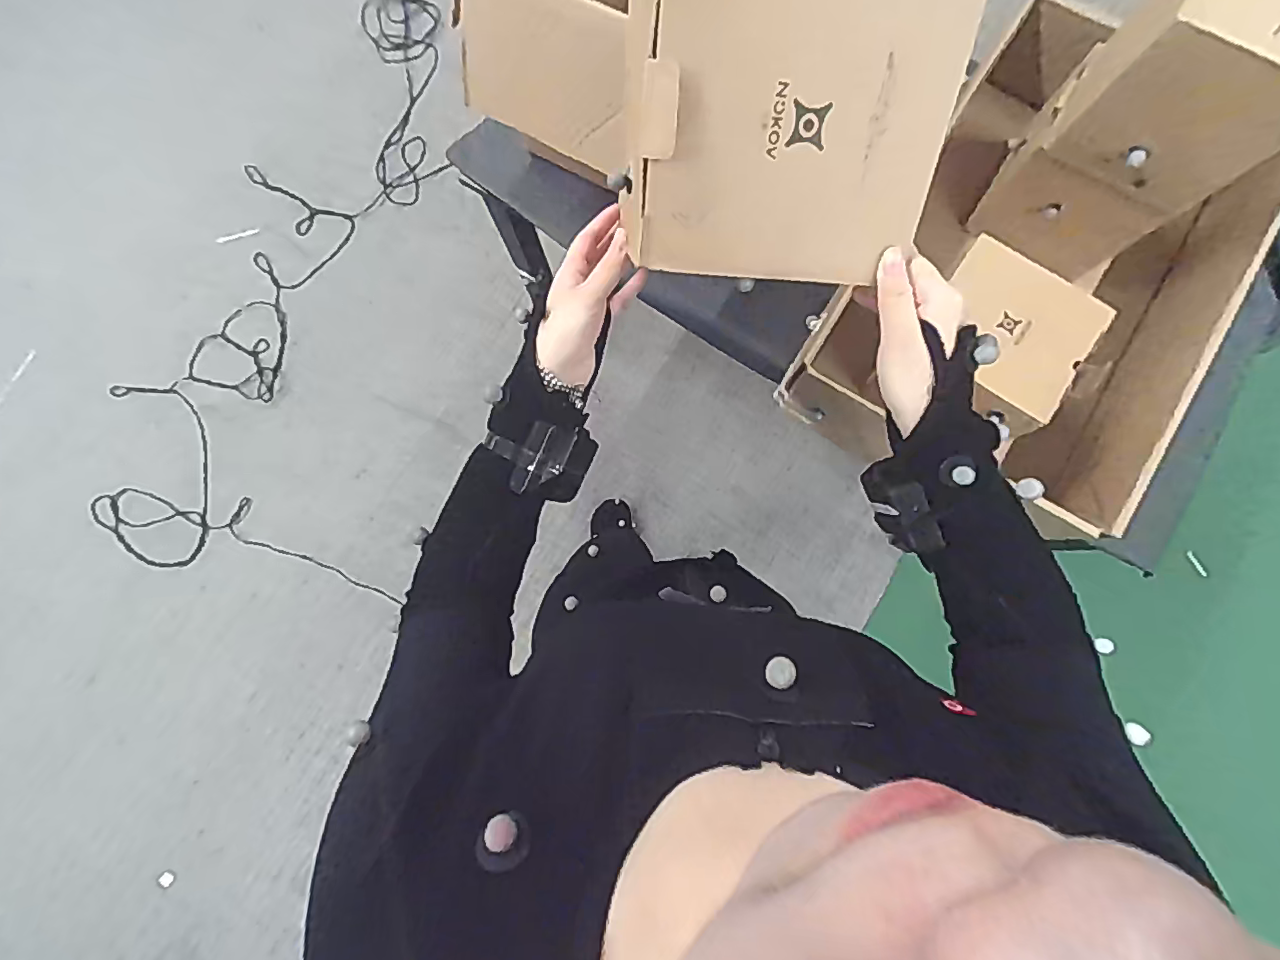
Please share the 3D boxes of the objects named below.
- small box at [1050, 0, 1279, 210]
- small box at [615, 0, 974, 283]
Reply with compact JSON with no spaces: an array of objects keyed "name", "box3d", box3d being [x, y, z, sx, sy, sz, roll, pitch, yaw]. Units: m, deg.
[{"name":"small box","box3d":[0.581,-0.428,0.556,0.168,0.176,0.179,32,86,5]},{"name":"small box","box3d":[0.077,-0.243,0.374,0.179,0.176,0.168,0,122,-8]}]
